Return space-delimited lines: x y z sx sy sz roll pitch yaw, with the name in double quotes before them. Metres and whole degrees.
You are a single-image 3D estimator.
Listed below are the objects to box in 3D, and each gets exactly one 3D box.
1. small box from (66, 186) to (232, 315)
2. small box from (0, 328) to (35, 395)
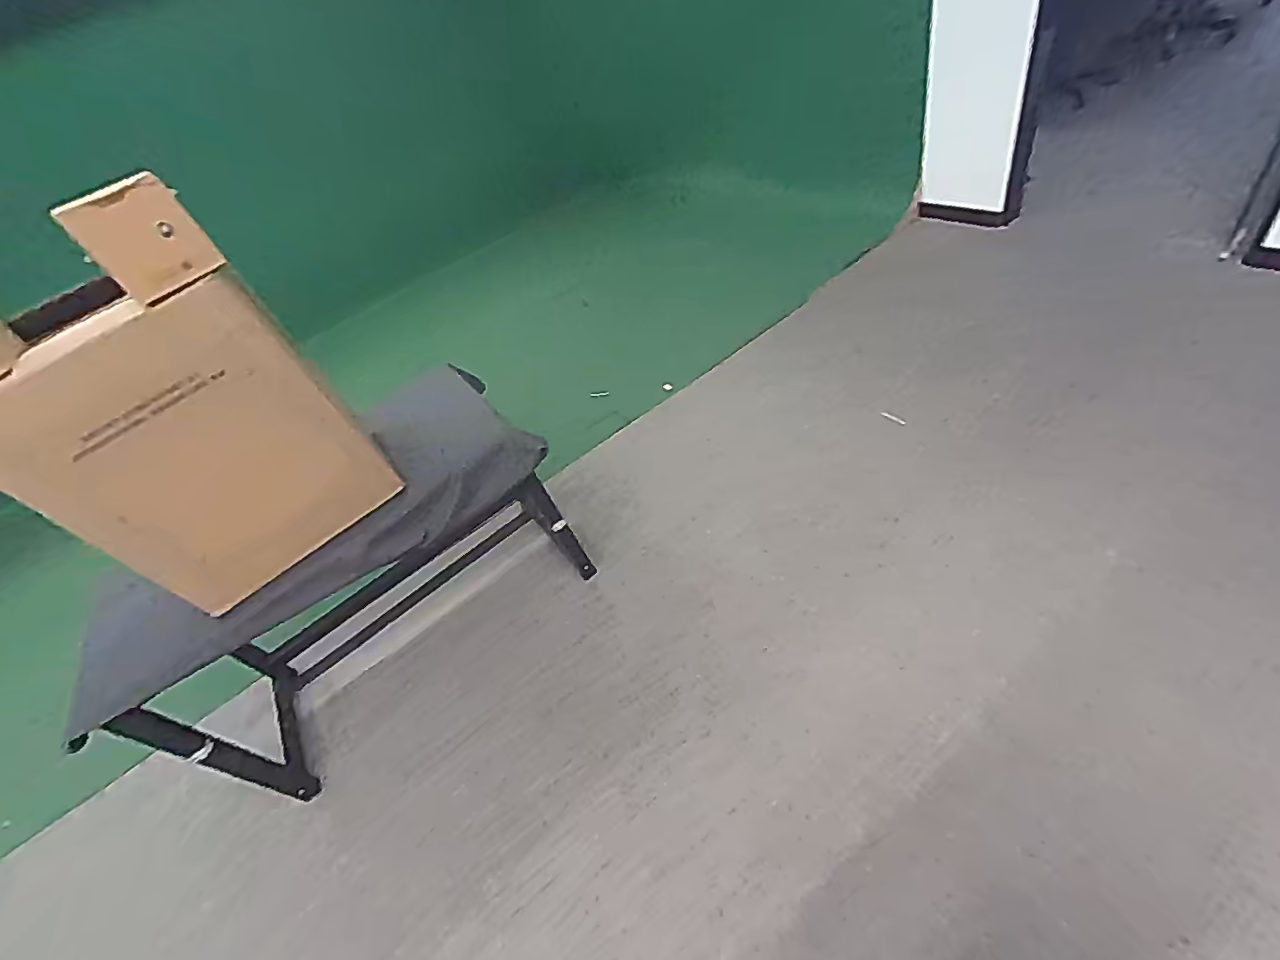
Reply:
"small box" -0.919 -0.433 1.024 0.168 0.176 0.179 -42 45 -22
"small box" -1.222 -0.214 0.933 0.168 0.176 0.179 -38 45 -14
